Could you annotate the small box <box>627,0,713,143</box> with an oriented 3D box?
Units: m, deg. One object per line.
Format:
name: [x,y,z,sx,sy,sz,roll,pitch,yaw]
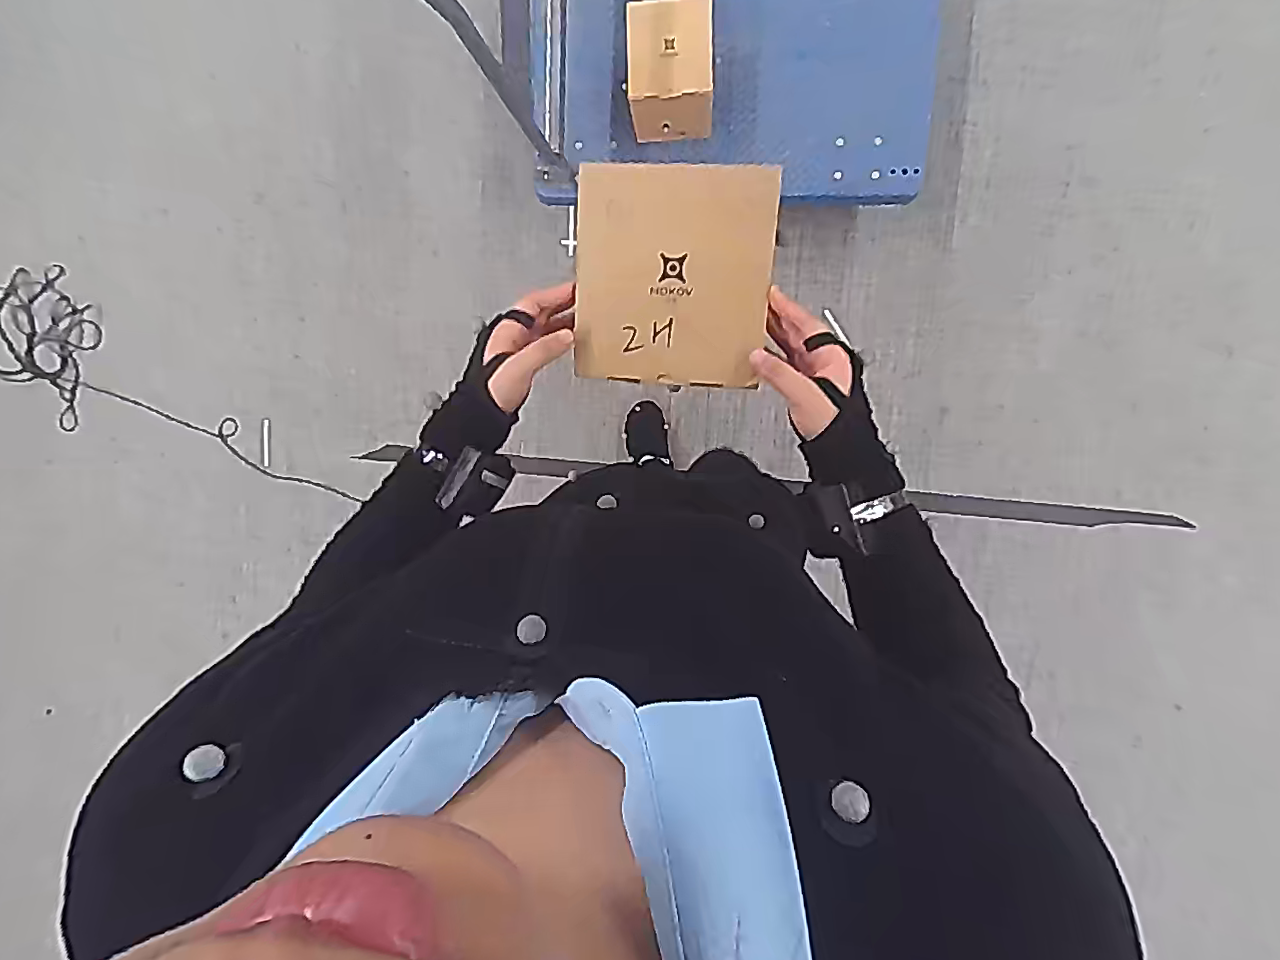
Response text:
small box: [0.063,-0.833,1.116,0.168,0.176,0.179,-1,96,5]

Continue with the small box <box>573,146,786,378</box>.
small box: [0.038,-0.196,0.522,0.168,0.176,0.179,6,105,8]
